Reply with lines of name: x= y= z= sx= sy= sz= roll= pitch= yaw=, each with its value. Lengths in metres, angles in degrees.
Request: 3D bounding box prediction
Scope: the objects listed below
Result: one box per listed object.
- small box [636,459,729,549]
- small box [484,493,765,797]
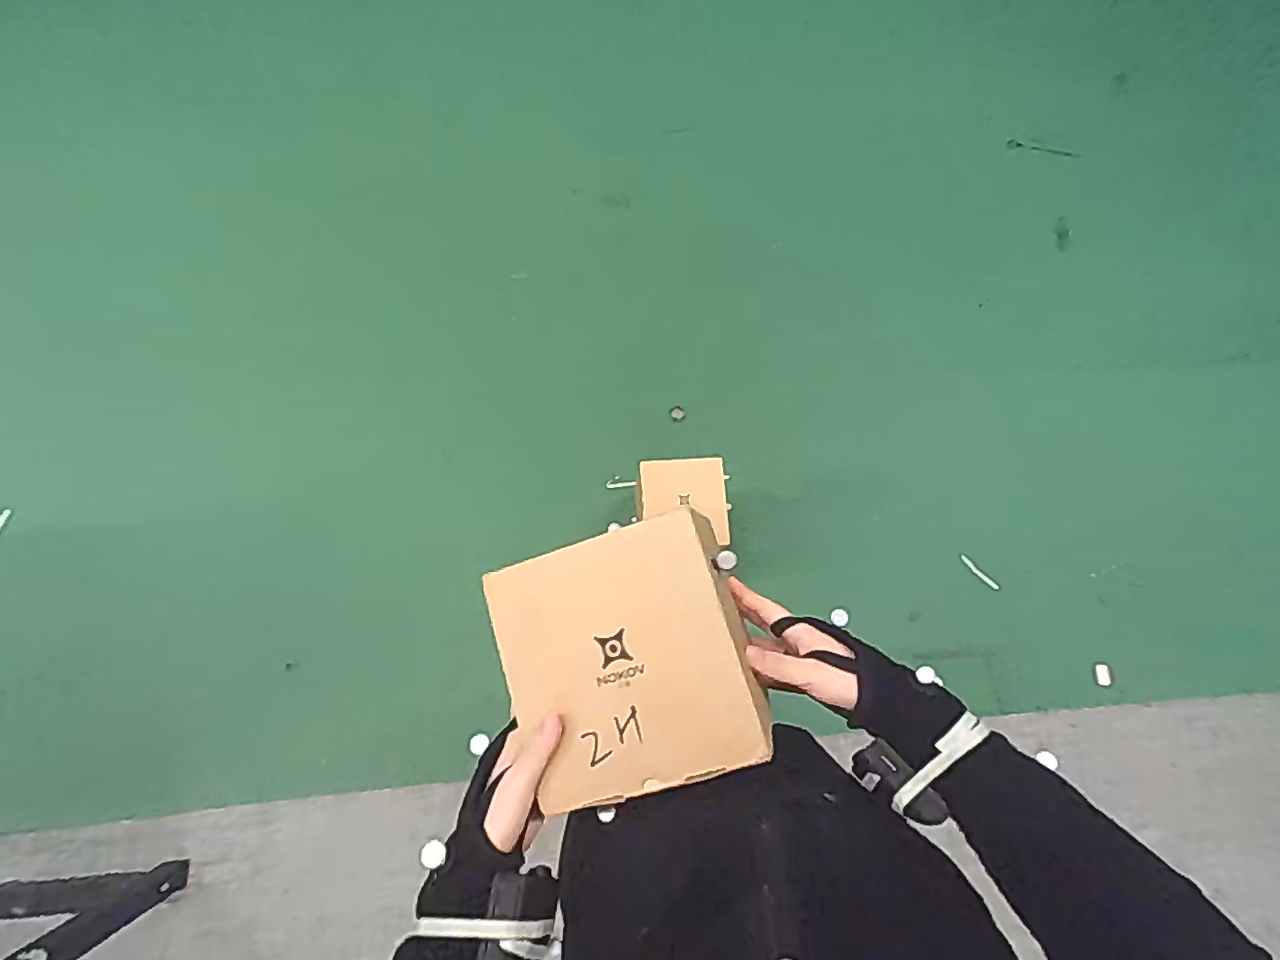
small box: x=0.080 y=0.064 z=1.121 sx=0.168 sy=0.176 sz=0.179 roll=-3 pitch=78 yaw=-3
small box: x=-0.002 y=0.125 z=0.452 sx=0.168 sy=0.176 sz=0.179 roll=-18 pitch=79 yaw=10
